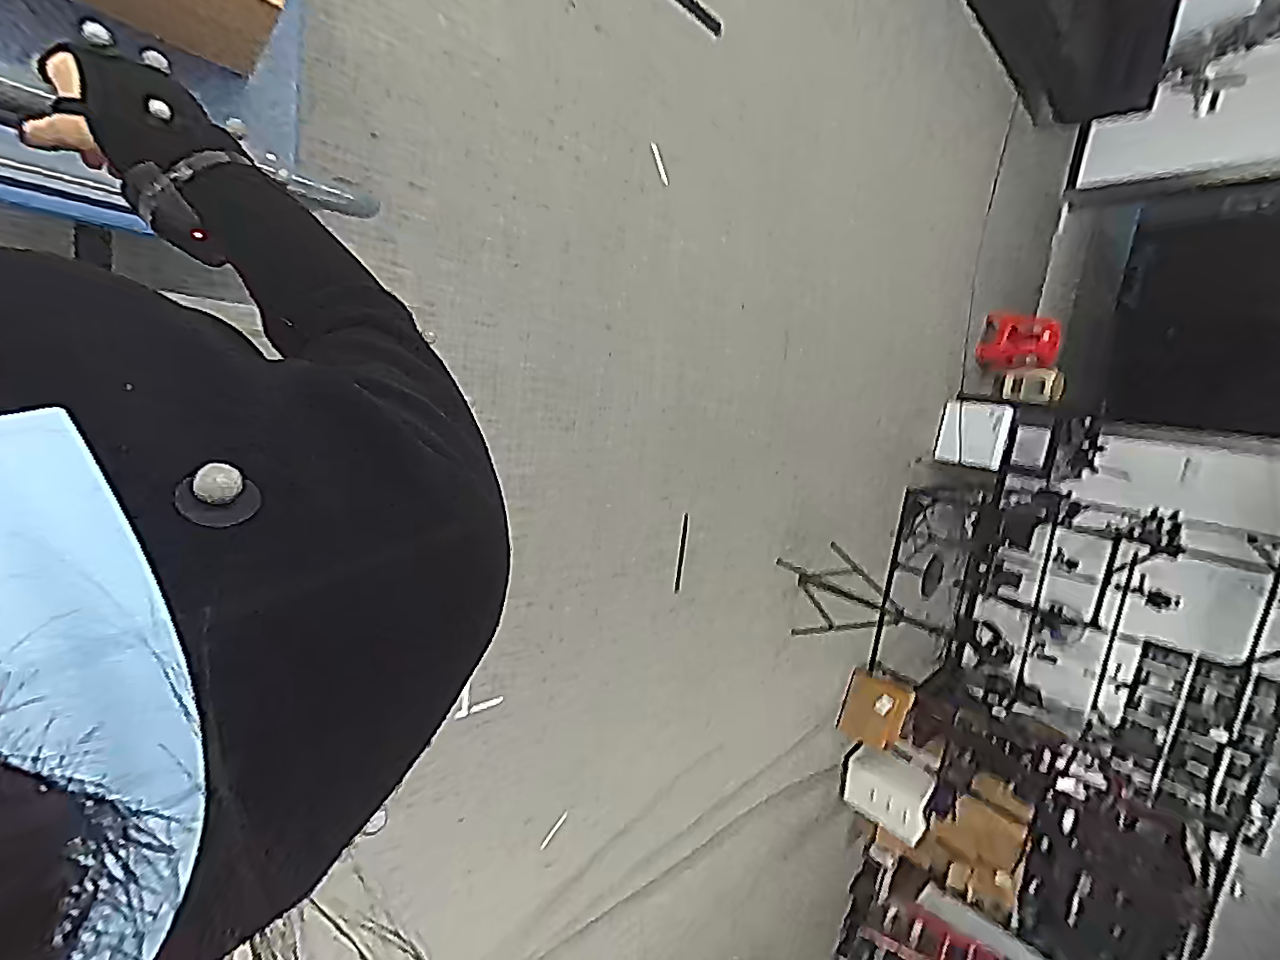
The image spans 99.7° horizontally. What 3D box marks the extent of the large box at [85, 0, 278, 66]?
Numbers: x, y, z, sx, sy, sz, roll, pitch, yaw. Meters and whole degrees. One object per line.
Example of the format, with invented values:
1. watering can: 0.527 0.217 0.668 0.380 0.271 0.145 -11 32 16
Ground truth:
1. large box: -0.742 -0.866 0.728 0.408 0.320 0.320 1 101 -43
